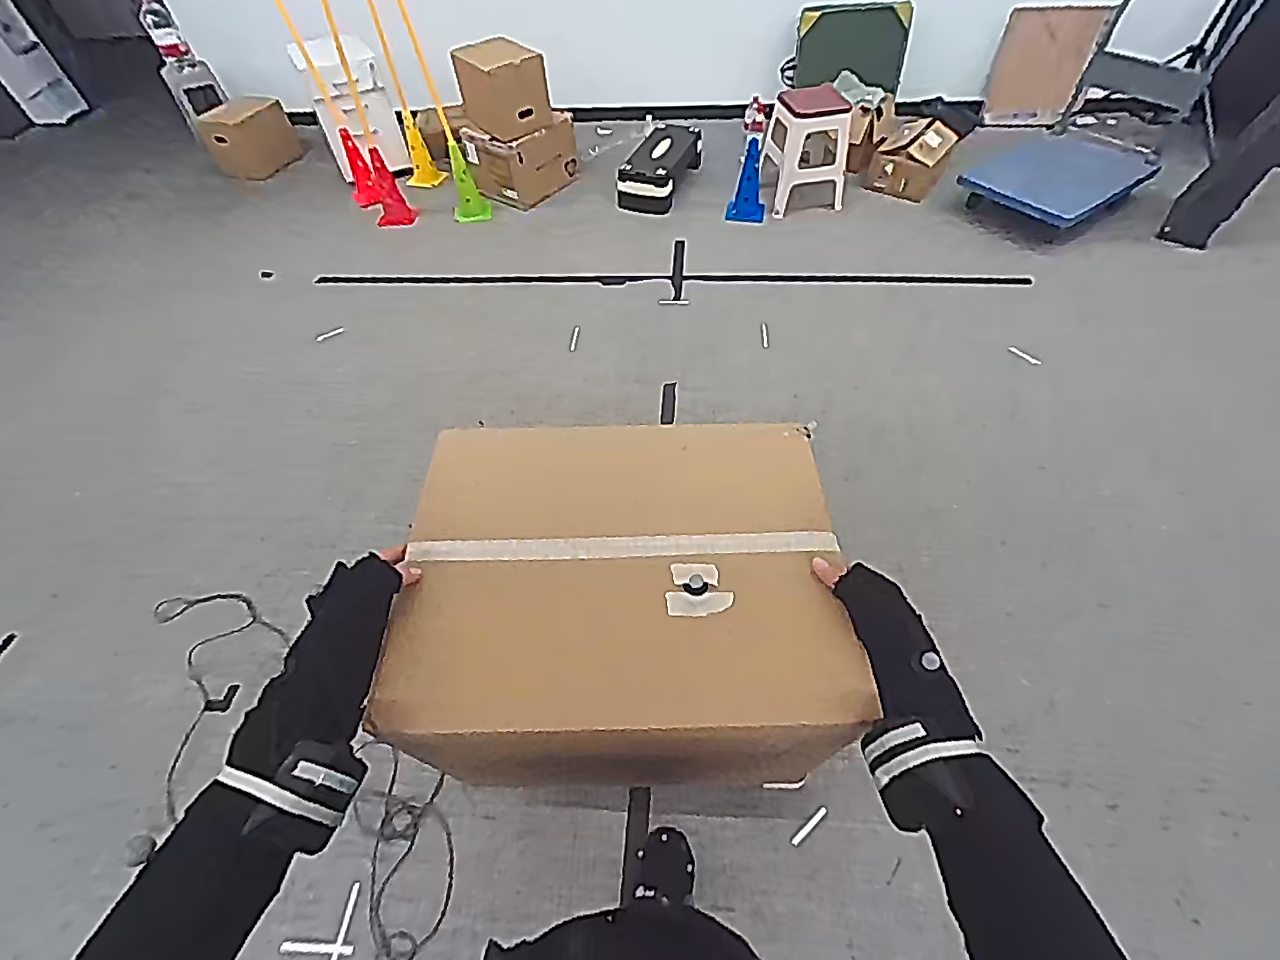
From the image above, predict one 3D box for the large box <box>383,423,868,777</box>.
[{"bbox_3d":[-0.015,0.151,0.642,0.408,0.320,0.320,-1,54,0],"label":"large box"}]
